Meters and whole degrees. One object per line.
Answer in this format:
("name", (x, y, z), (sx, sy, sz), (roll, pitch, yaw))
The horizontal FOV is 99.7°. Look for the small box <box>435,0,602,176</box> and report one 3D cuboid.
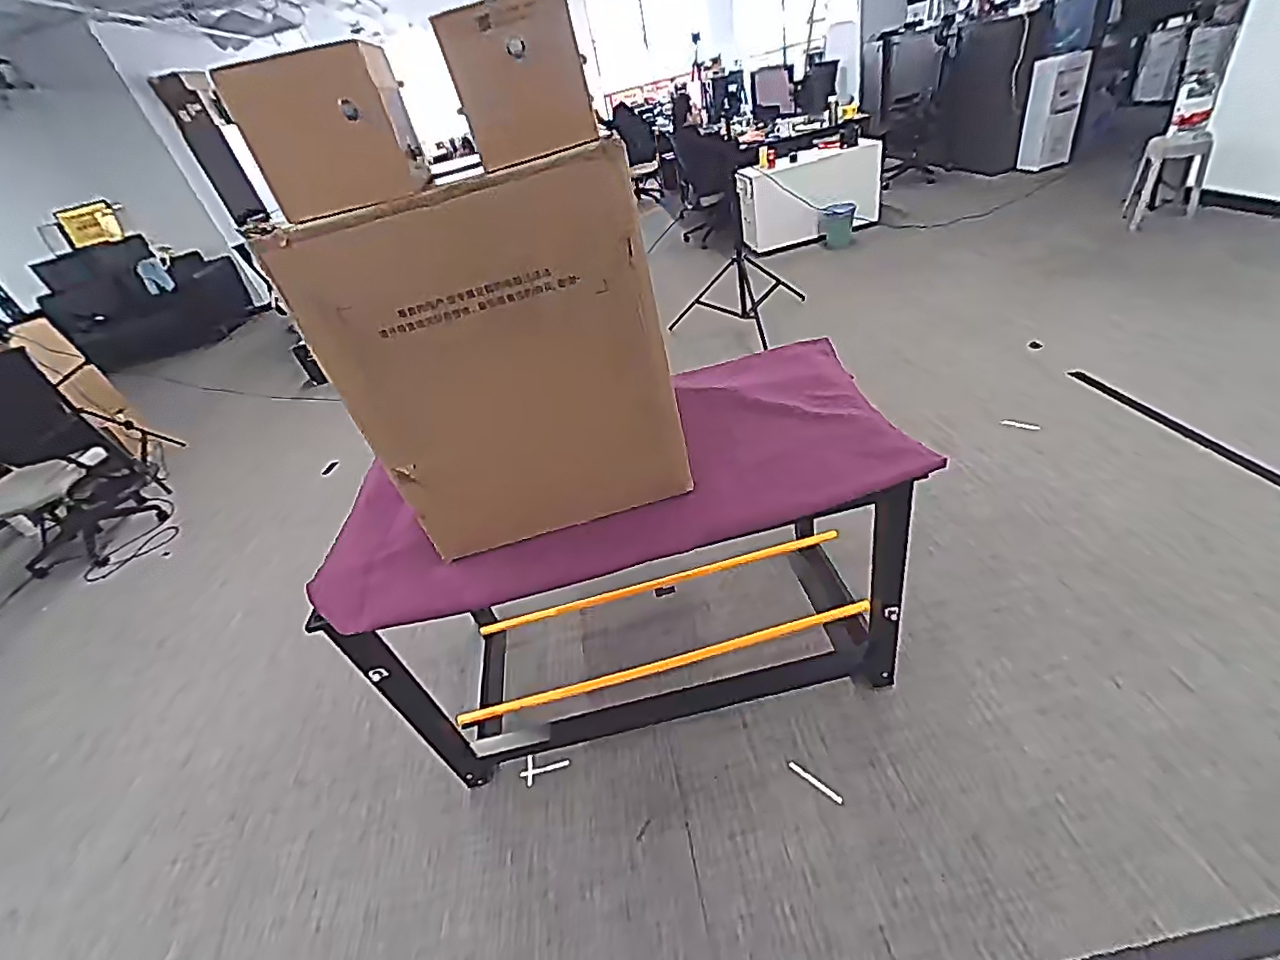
("small box", (-0.162, -0.541, 0.742), (0.168, 0.176, 0.179), (-18, 36, -1))
